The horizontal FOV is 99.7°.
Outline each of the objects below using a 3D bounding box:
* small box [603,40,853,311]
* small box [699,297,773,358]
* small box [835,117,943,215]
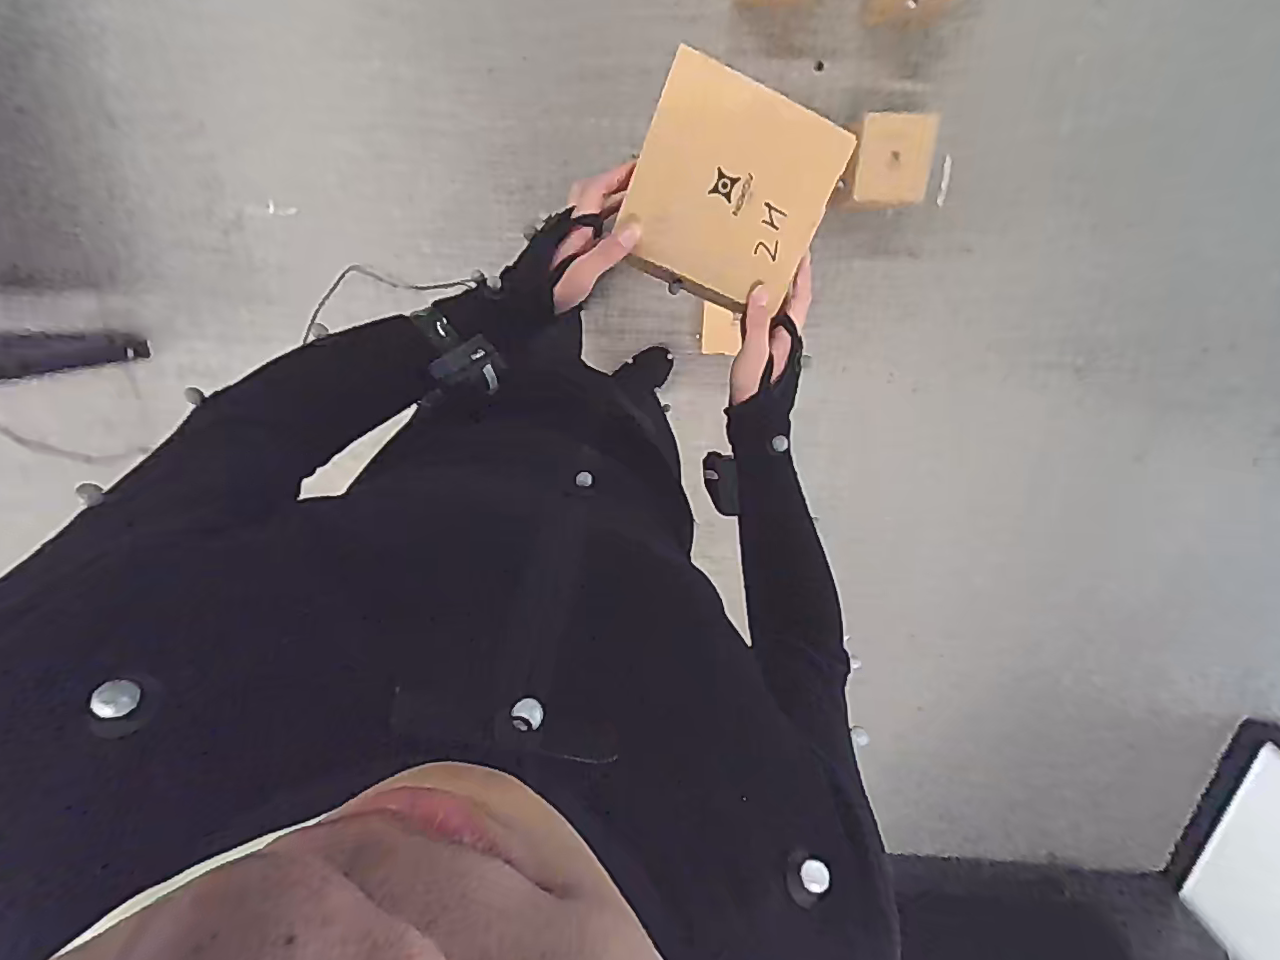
[{"bbox_3d":[0.070,-0.283,0.549,0.179,0.176,0.168,20,107,-11],"label":"small box"},{"bbox_3d":[0.244,-0.418,1.408,0.168,0.176,0.179,2,111,1],"label":"small box"},{"bbox_3d":[0.576,-0.733,1.277,0.168,0.176,0.179,3,110,0],"label":"small box"}]
